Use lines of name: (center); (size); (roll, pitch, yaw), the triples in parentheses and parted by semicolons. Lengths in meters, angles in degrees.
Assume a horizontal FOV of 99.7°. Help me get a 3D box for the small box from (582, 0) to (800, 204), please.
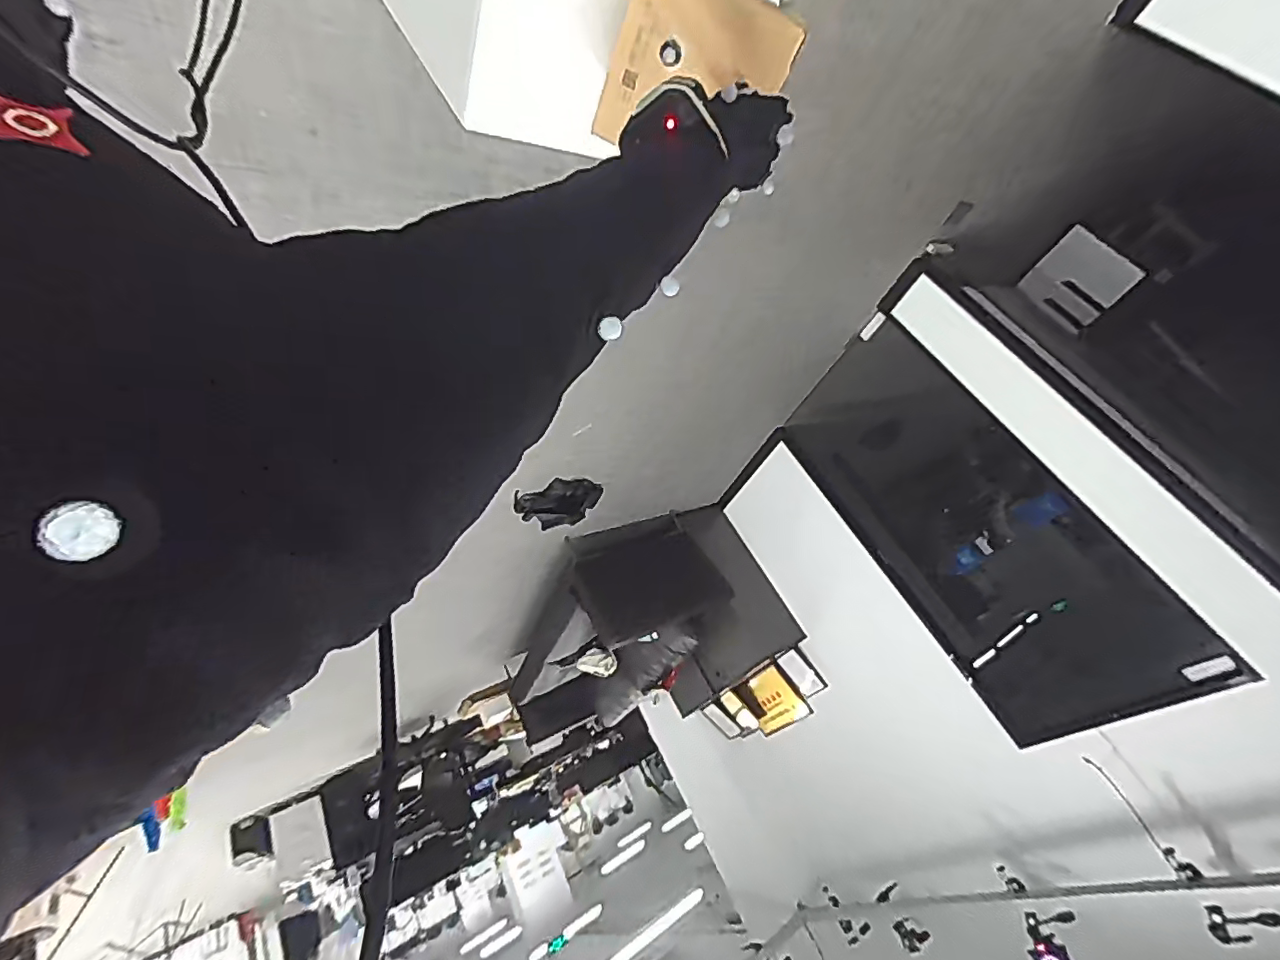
small box: (0.055, -0.451, 0.602); (0.176, 0.179, 0.168); (26, 133, -9)
